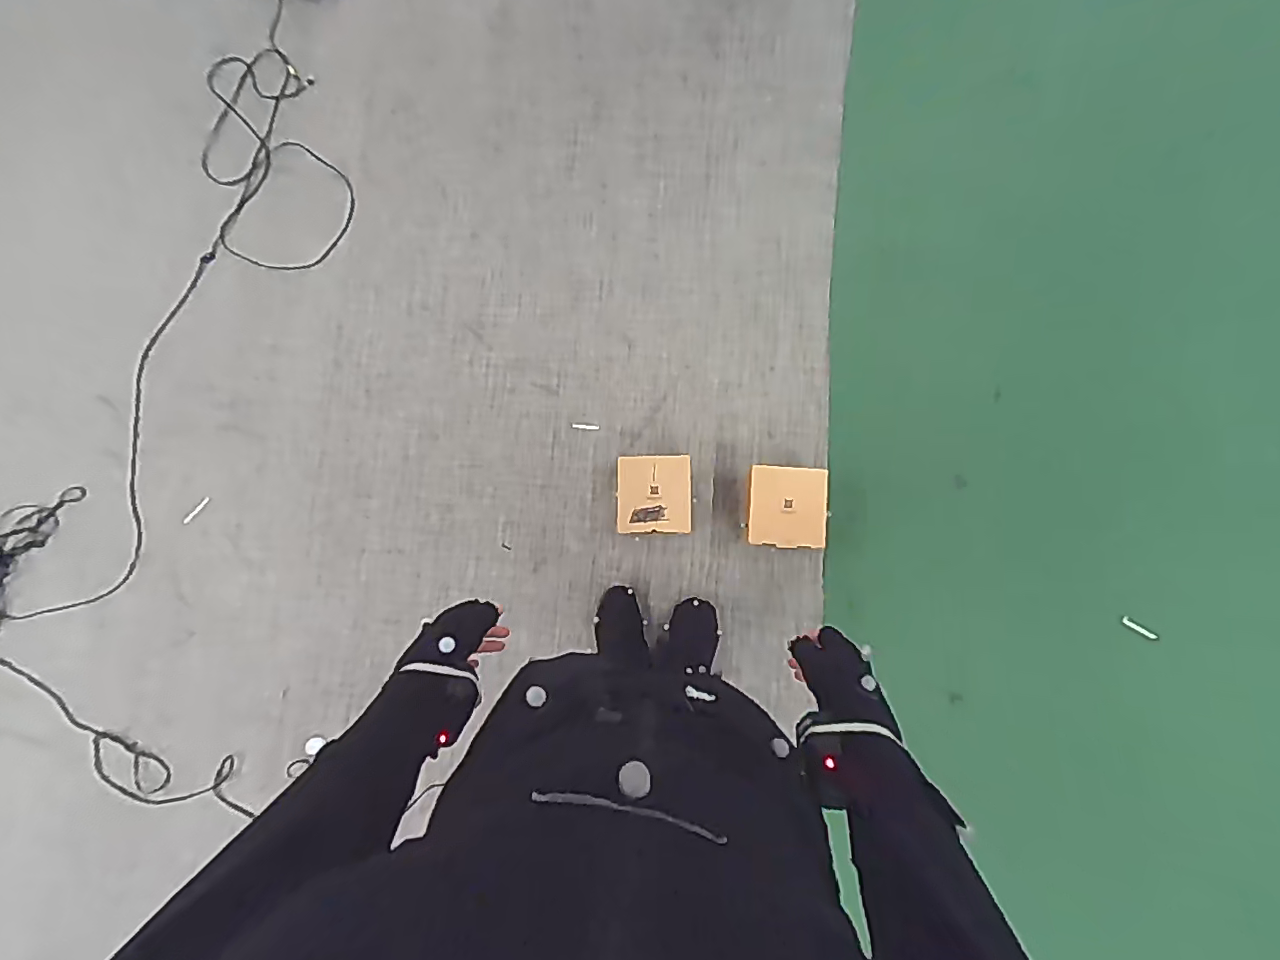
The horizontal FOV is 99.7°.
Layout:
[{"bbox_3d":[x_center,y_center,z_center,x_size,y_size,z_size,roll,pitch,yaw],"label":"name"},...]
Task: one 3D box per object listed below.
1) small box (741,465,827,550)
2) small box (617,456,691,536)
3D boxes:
[{"bbox_3d":[0.328,0.069,1.256,0.168,0.176,0.179,3,82,6],"label":"small box"},{"bbox_3d":[0.038,0.044,1.284,0.168,0.176,0.179,0,81,5],"label":"small box"}]
